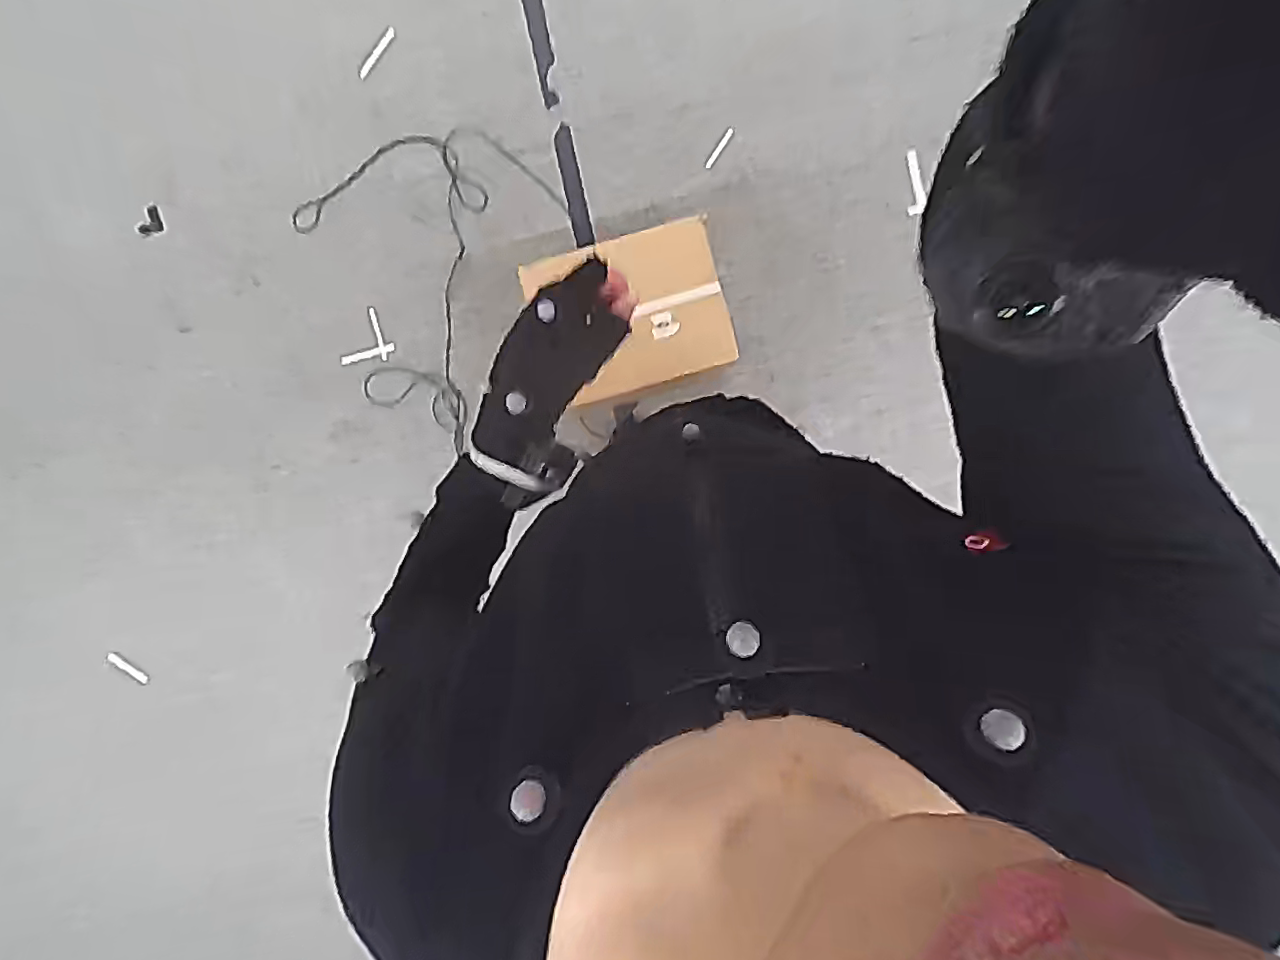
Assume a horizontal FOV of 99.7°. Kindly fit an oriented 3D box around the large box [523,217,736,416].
[{"bbox_3d":[-0.020,-0.365,1.307,0.408,0.320,0.320,-16,94,3],"label":"large box"}]
